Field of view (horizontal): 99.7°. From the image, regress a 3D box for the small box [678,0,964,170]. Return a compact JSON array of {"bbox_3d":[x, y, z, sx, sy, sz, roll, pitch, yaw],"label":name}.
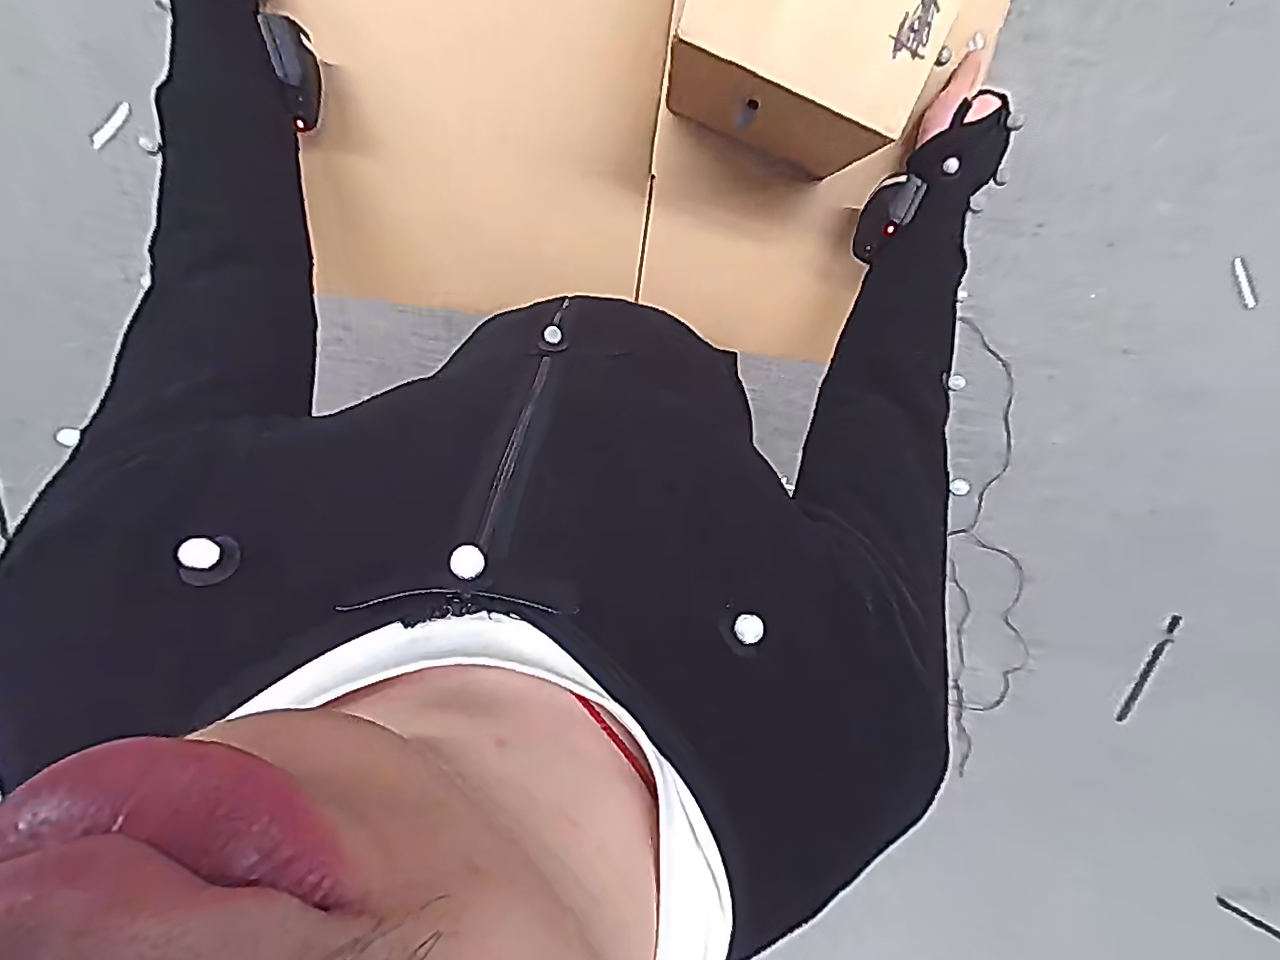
[{"bbox_3d":[0.138,-0.375,0.432,0.179,0.176,0.168,21,110,-6],"label":"small box"}]
